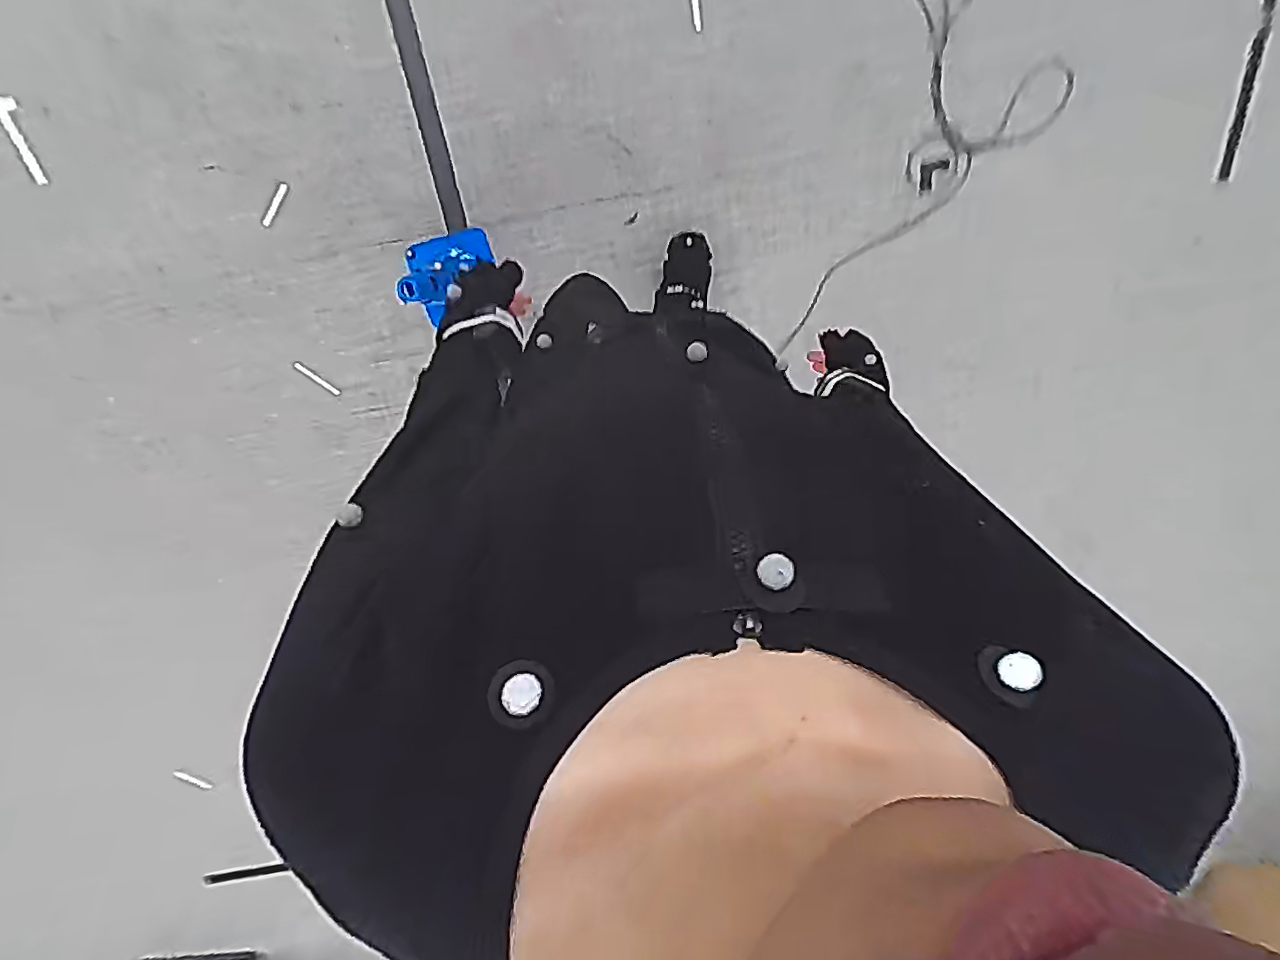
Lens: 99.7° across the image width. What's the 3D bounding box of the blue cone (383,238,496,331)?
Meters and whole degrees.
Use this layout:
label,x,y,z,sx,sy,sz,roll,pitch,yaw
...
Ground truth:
label,x,y,z,sx,sy,sz,roll,pitch,yaw
blue cone,-0.446,-0.407,1.148,0.192,0.380,0.193,-13,112,2
